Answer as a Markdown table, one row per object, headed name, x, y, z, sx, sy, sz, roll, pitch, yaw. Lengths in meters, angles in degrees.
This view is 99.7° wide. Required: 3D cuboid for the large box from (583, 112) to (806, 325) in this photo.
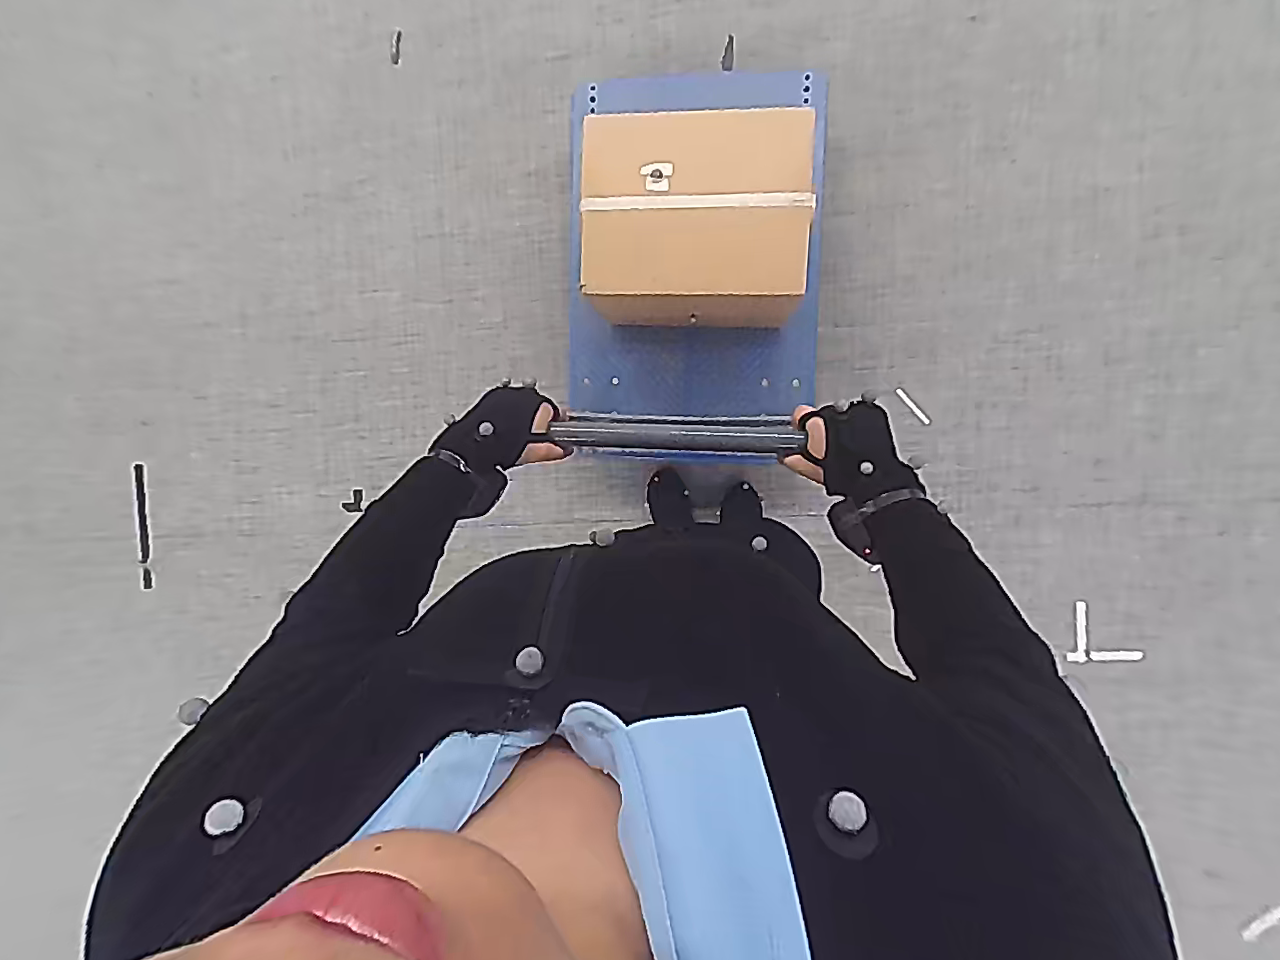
| name | x | y | z | sx | sy | sz | roll | pitch | yaw |
| --- | --- | --- | --- | --- | --- | --- | --- | --- | --- |
| large box | 0.115 | -0.505 | 1.124 | 0.408 | 0.320 | 0.320 | 2 | 94 | 8 |
